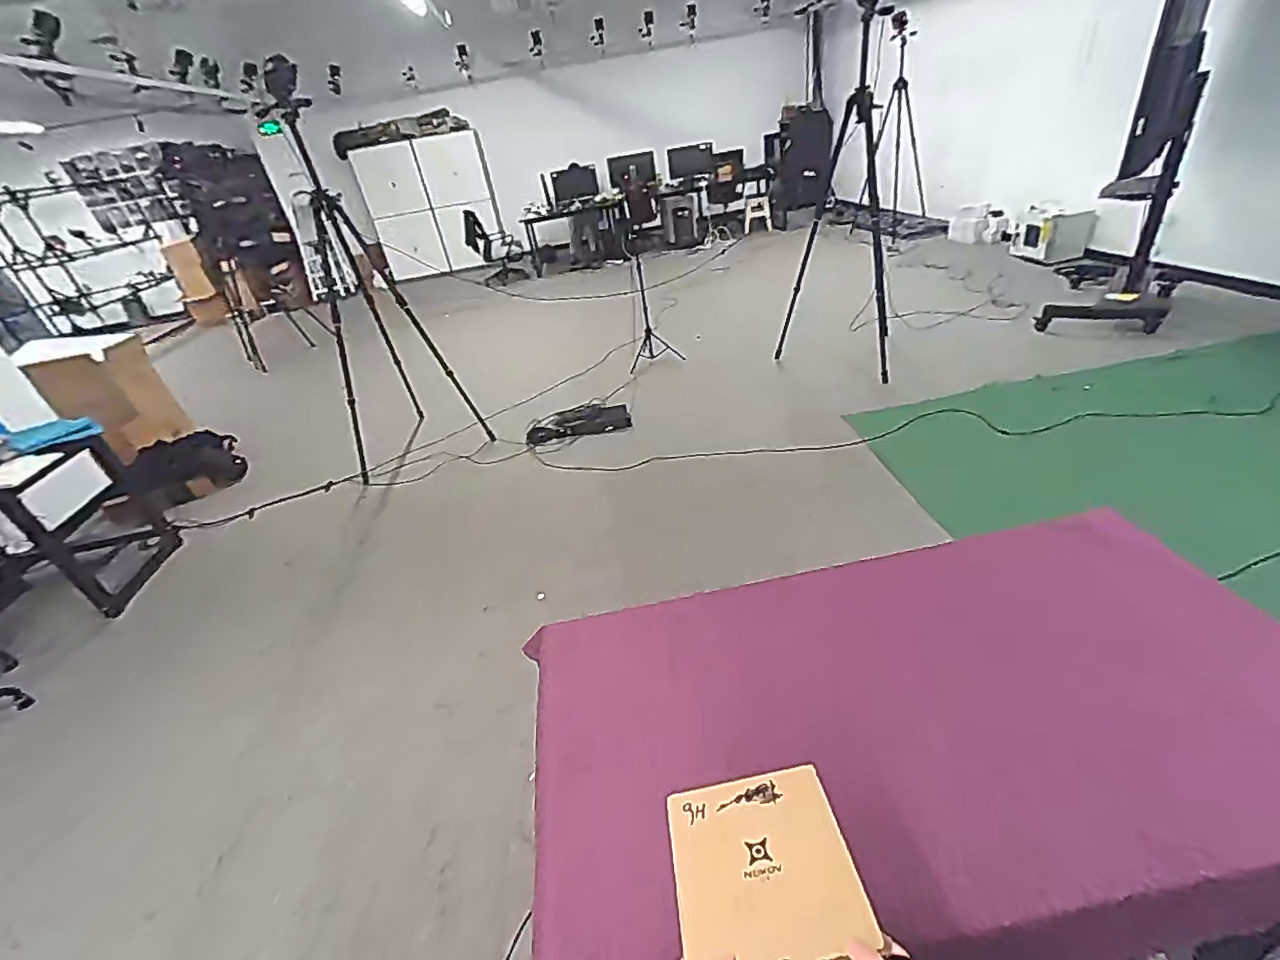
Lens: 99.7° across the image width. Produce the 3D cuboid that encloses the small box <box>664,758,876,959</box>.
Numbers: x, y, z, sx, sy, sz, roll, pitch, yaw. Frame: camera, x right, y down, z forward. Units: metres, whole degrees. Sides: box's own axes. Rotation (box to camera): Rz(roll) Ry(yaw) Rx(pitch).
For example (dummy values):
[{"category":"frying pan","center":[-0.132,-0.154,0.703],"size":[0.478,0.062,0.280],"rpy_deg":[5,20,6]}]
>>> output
[{"category":"small box","center":[0.129,0.428,0.547],"size":[0.168,0.176,0.179],"rpy_deg":[-14,23,3]}]
